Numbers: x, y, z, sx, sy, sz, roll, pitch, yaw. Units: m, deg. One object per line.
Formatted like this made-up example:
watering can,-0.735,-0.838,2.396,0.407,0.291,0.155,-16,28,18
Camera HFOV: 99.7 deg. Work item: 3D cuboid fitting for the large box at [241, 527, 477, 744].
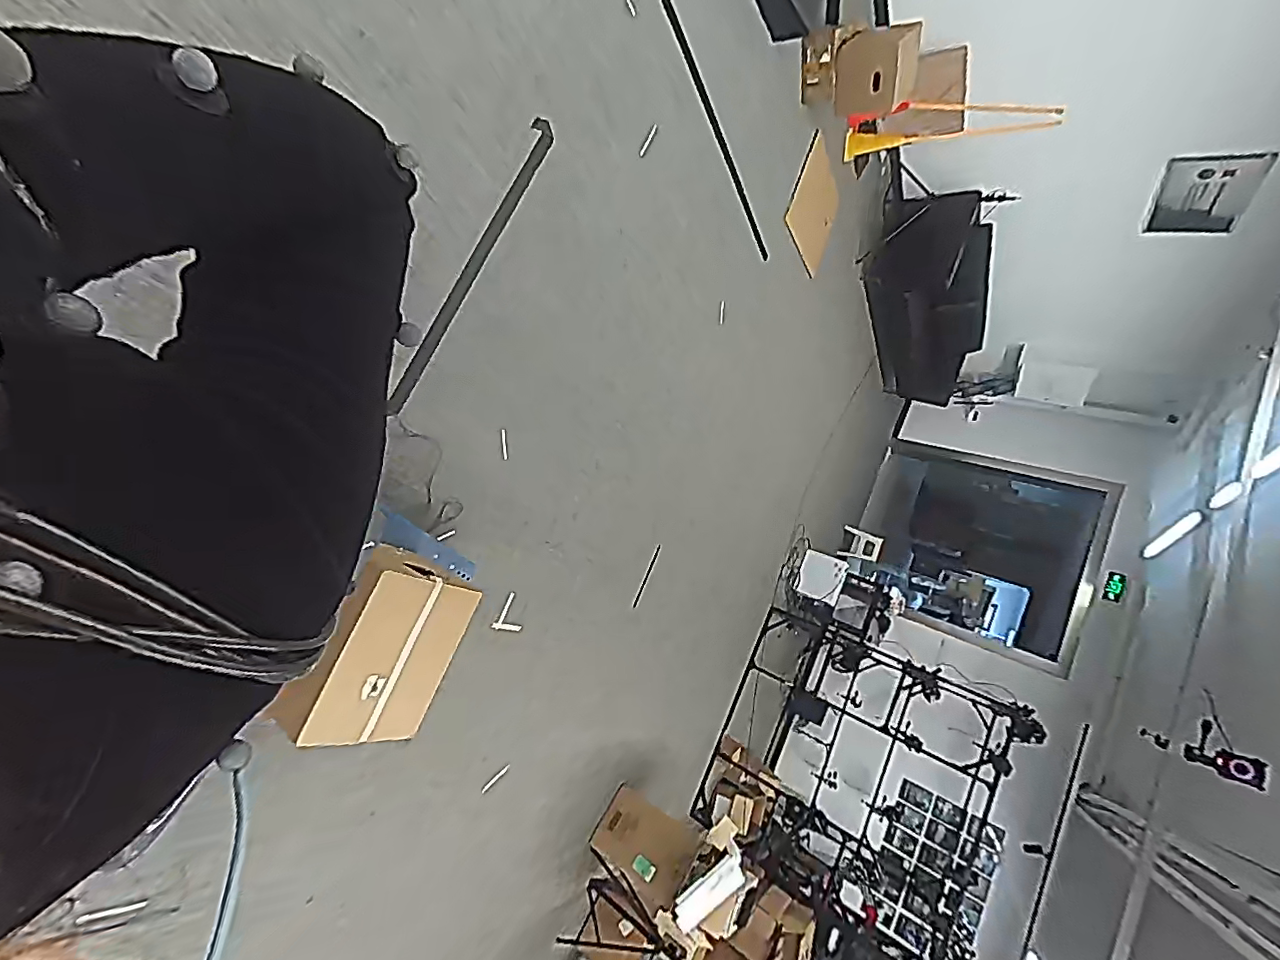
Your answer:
large box,-0.691,0.379,1.354,0.320,0.320,0.408,36,76,-54
